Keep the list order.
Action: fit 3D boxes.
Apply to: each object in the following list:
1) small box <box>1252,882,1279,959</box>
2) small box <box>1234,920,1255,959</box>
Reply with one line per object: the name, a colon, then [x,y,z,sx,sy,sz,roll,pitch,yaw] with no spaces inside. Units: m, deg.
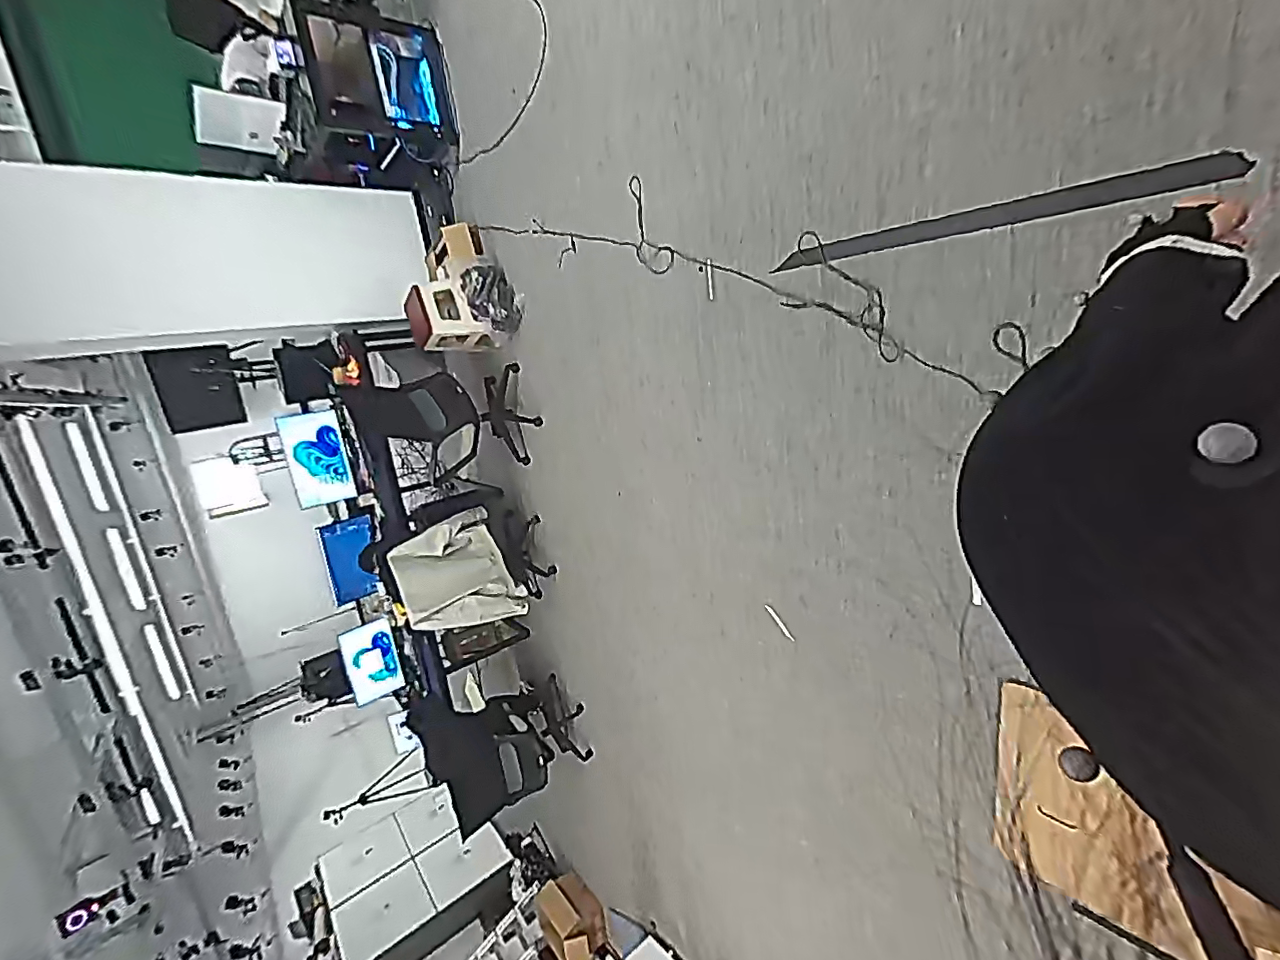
small box: [1.196,0.858,0.929,0.168,0.176,0.179,-11,96,52]
small box: [1.349,1.077,1.107,0.168,0.176,0.179,-4,101,52]
